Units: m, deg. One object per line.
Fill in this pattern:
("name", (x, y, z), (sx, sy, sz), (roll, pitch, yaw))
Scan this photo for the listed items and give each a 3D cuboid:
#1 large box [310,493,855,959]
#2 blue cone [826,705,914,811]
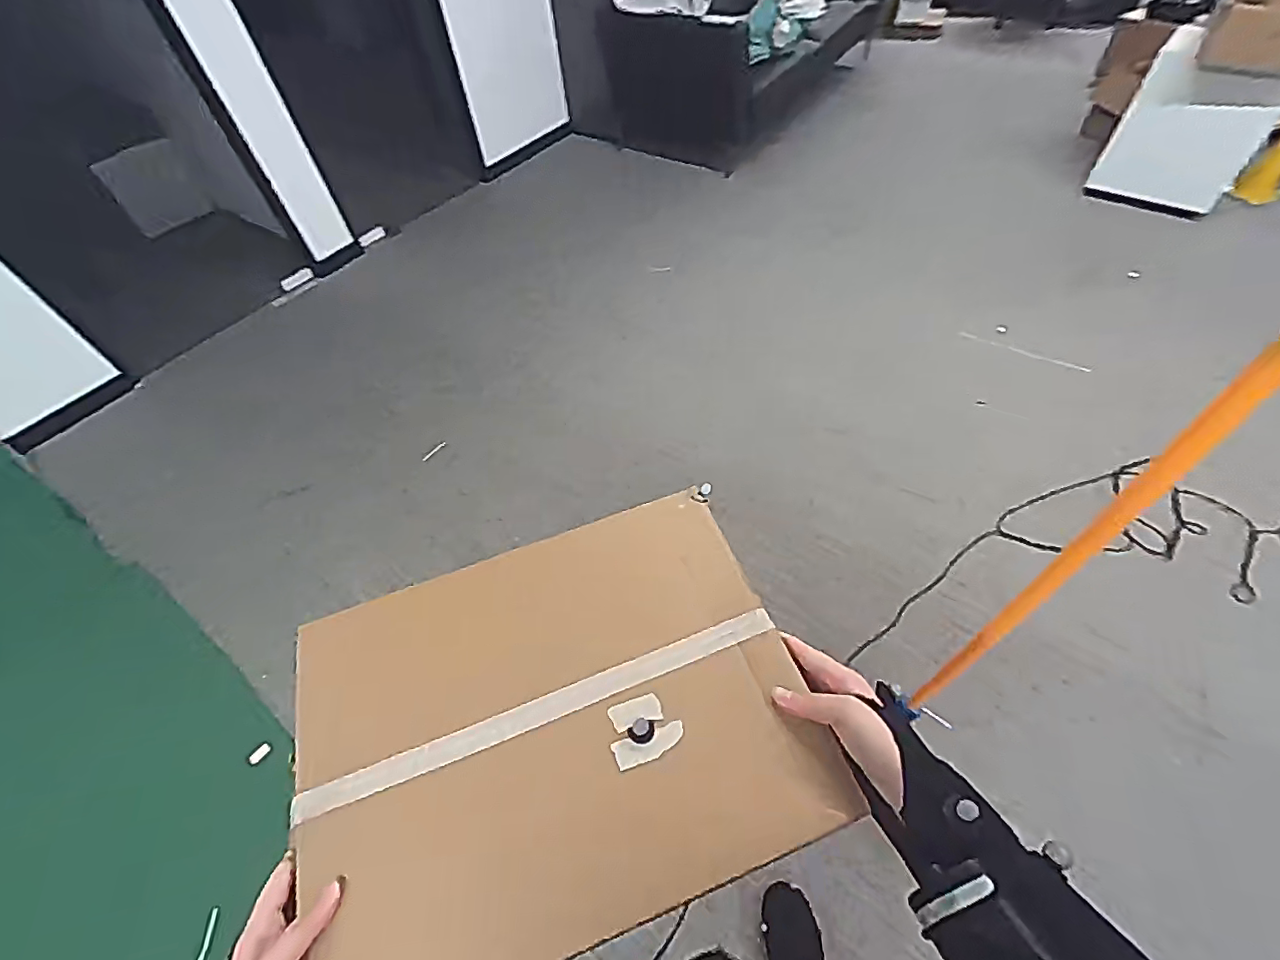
("large box", (-0.065, 0.279, 0.577), (0.408, 0.320, 0.320), (-19, 56, -10))
("blue cone", (0.523, 0.563, 1.176), (0.193, 0.380, 0.192), (37, 64, 28))
